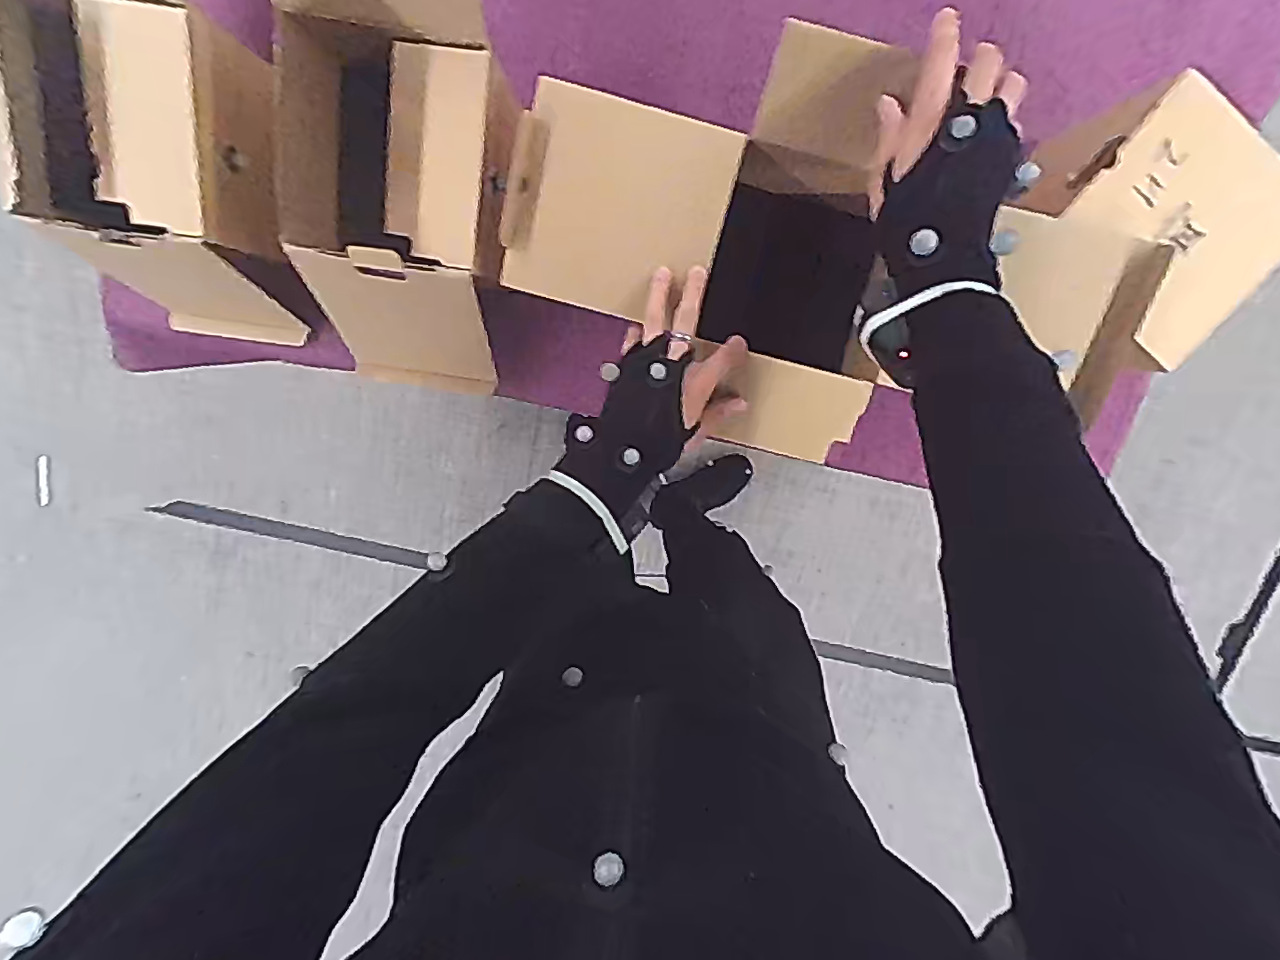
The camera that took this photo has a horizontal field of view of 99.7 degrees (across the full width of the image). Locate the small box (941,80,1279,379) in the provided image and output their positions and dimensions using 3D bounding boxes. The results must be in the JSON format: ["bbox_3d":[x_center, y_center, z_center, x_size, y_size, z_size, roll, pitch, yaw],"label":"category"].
[{"bbox_3d":[0.447,-0.222,0.525,0.179,0.176,0.168,38,102,-8],"label":"small box"}]
